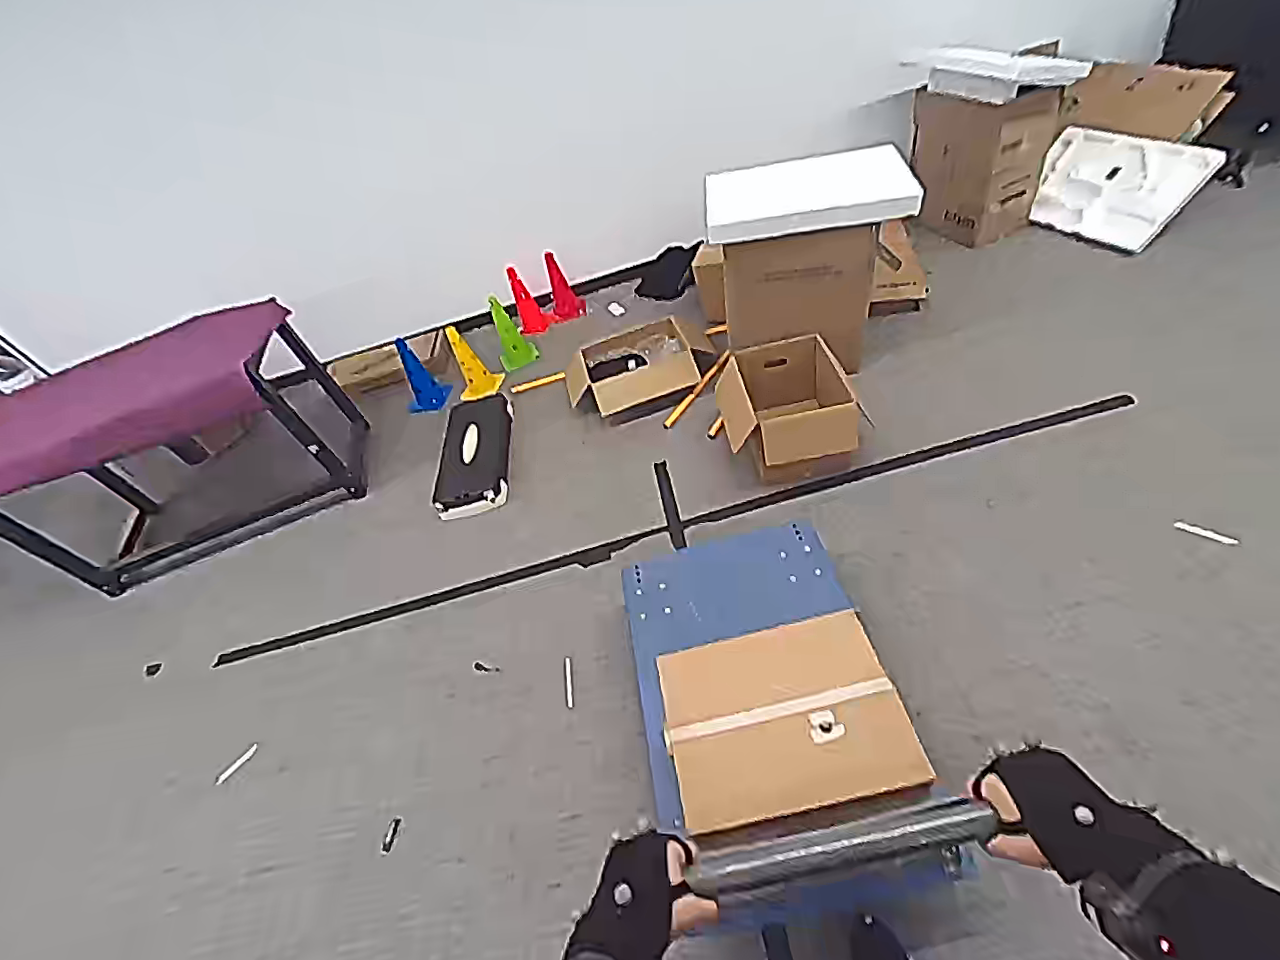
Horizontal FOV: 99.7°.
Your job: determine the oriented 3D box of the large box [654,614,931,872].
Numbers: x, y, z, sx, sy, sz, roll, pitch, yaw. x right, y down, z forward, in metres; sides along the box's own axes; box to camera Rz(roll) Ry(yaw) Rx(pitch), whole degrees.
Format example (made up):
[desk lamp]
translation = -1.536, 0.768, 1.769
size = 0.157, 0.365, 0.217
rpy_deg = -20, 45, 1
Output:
[large box]
translation = 0.271, 0.518, 1.058
size = 0.408, 0.320, 0.320
rpy_deg = -15, 46, 2
